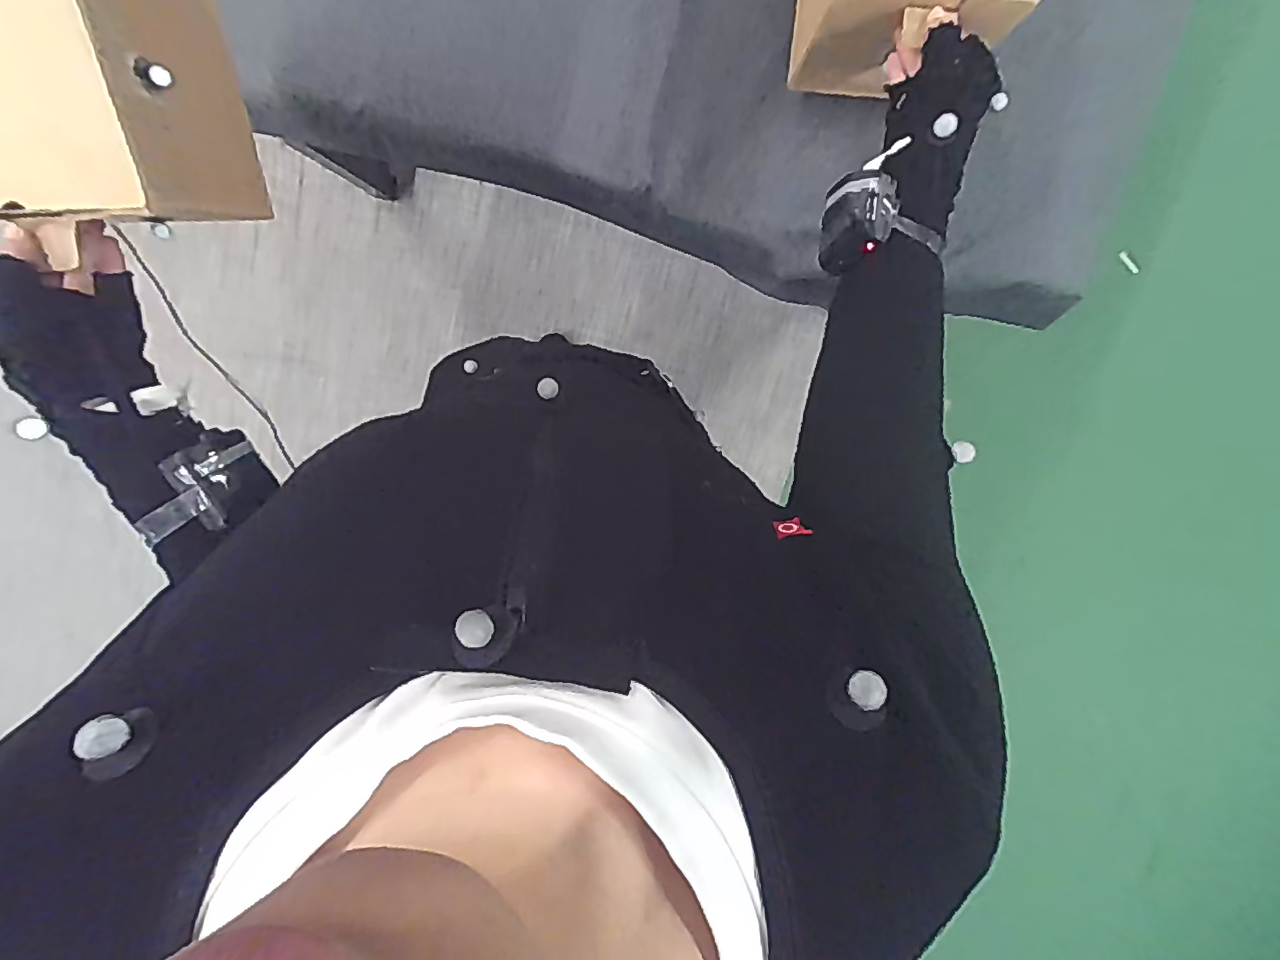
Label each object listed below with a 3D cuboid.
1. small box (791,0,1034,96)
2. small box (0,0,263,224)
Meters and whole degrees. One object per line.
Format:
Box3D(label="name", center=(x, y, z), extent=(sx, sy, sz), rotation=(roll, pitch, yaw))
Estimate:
Box3D(label="small box", center=(0.247, -0.490, 0.497), extent=(0.168, 0.176, 0.179), rotation=(5, 102, -1))
Box3D(label="small box", center=(-0.410, -0.278, 0.380), extent=(0.168, 0.176, 0.179), rotation=(-5, 114, -6))
